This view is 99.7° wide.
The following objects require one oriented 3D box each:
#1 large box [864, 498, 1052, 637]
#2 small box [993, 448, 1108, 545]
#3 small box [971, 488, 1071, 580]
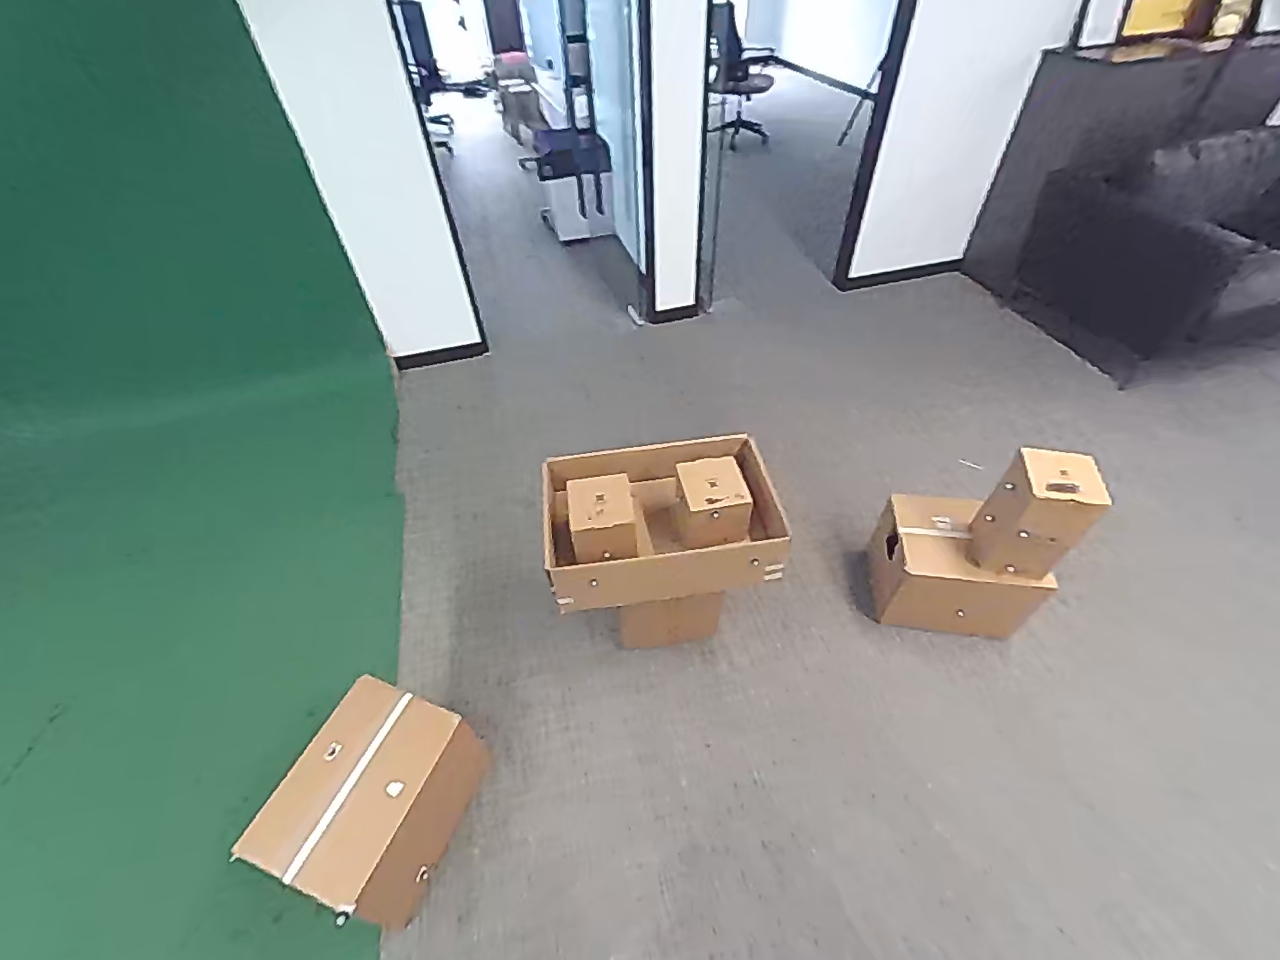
[{"bbox_3d":[0.980,0.283,1.731,0.408,0.320,0.320,4,46,7],"label":"large box"},{"bbox_3d":[1.043,0.045,1.391,0.168,0.176,0.179,9,48,12],"label":"small box"},{"bbox_3d":[1.054,0.152,1.515,0.168,0.176,0.179,9,49,12],"label":"small box"}]
